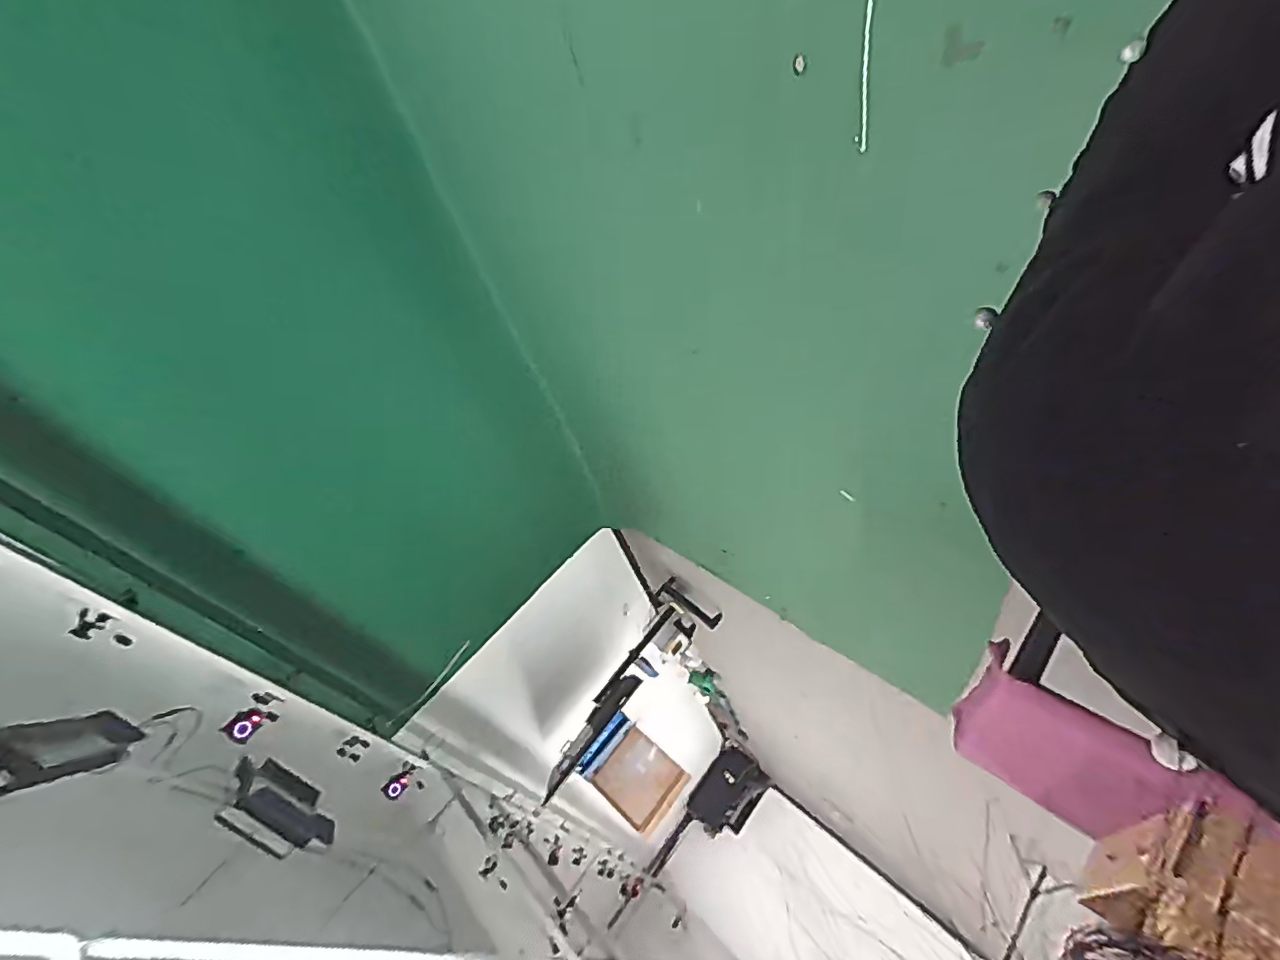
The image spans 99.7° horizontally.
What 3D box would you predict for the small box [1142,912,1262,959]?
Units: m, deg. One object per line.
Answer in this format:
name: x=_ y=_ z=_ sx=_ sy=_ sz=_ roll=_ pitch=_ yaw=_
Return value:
small box: x=1.111 y=0.981 z=1.037 sx=0.179 sy=0.176 sz=0.168 roll=28 pitch=155 yaw=35
